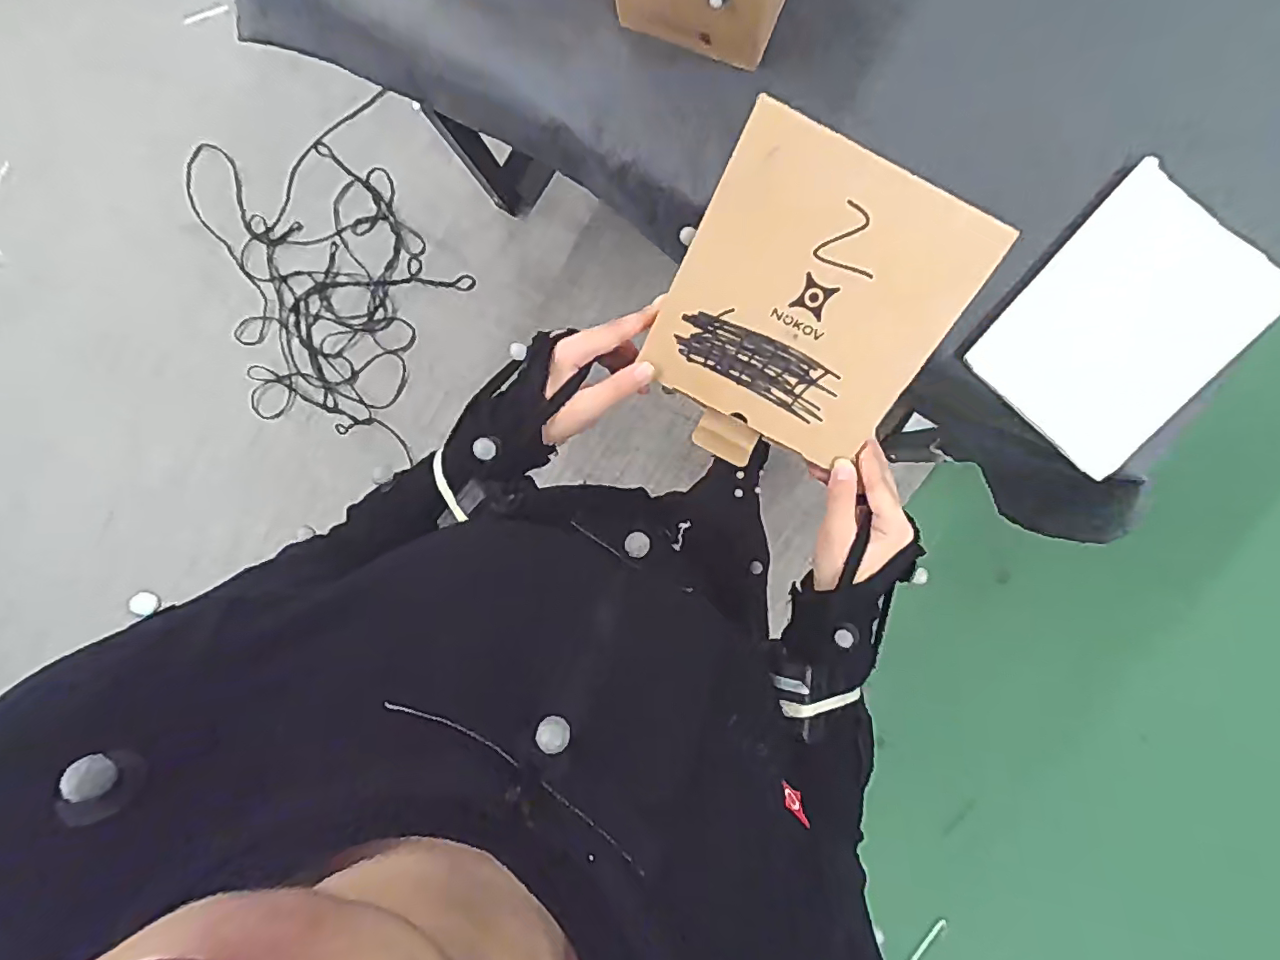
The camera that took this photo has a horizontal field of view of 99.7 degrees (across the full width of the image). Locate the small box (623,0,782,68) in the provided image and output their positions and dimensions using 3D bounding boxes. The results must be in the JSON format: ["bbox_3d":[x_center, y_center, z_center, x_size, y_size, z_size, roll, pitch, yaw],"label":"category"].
[{"bbox_3d":[0.076,-0.554,0.517,0.168,0.176,0.179,23,93,3],"label":"small box"}]
